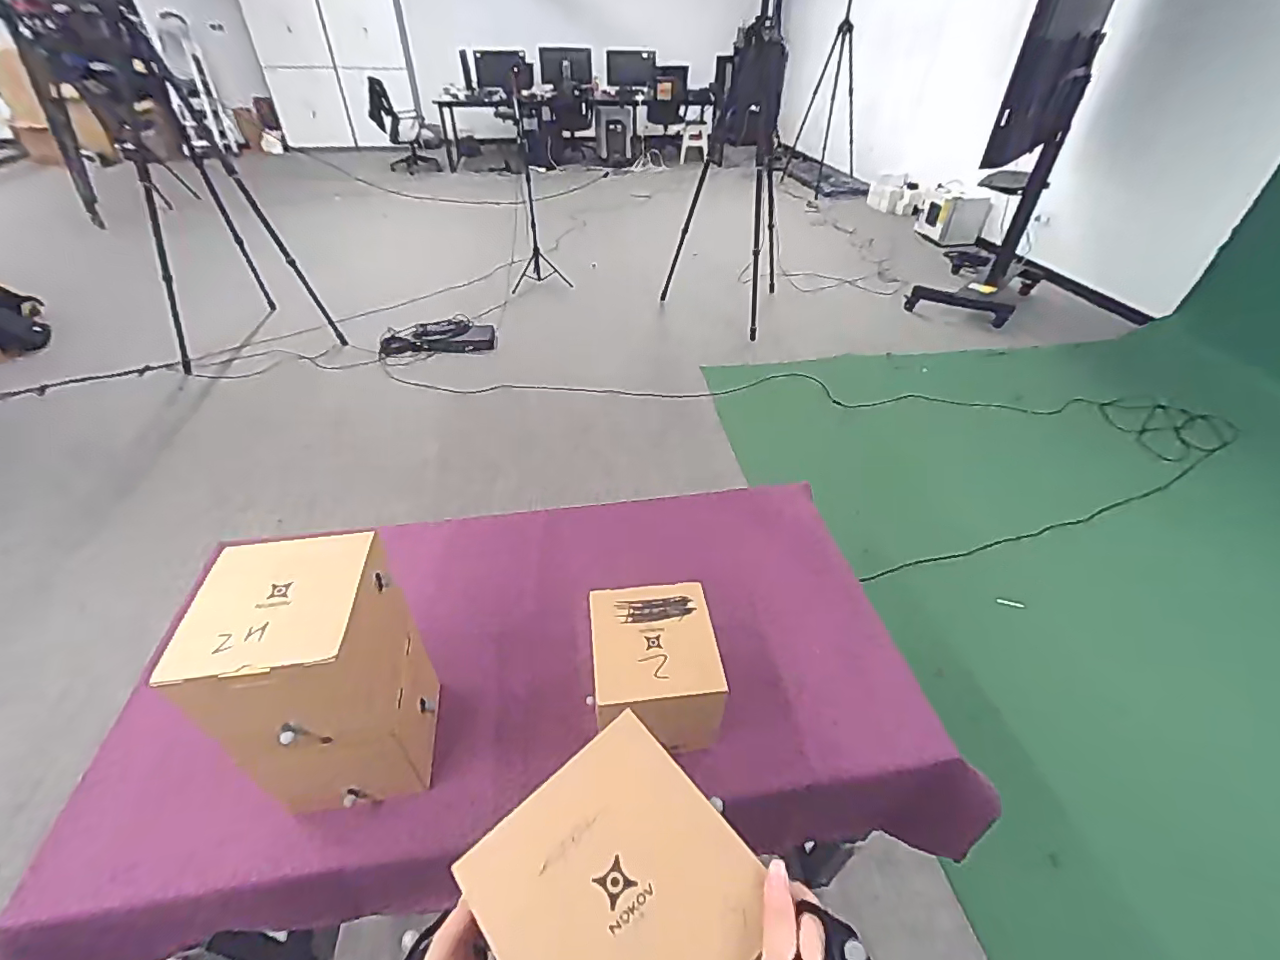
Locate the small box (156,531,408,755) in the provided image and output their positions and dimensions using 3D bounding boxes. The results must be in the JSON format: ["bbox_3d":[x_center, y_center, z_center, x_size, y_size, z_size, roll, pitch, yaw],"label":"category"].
[{"bbox_3d":[-0.380,0.183,0.620,0.168,0.176,0.179,-6,41,-7],"label":"small box"}]

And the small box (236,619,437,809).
[{"bbox_3d":[-0.382,0.312,0.725,0.179,0.176,0.168,-6,40,-9],"label":"small box"}]
